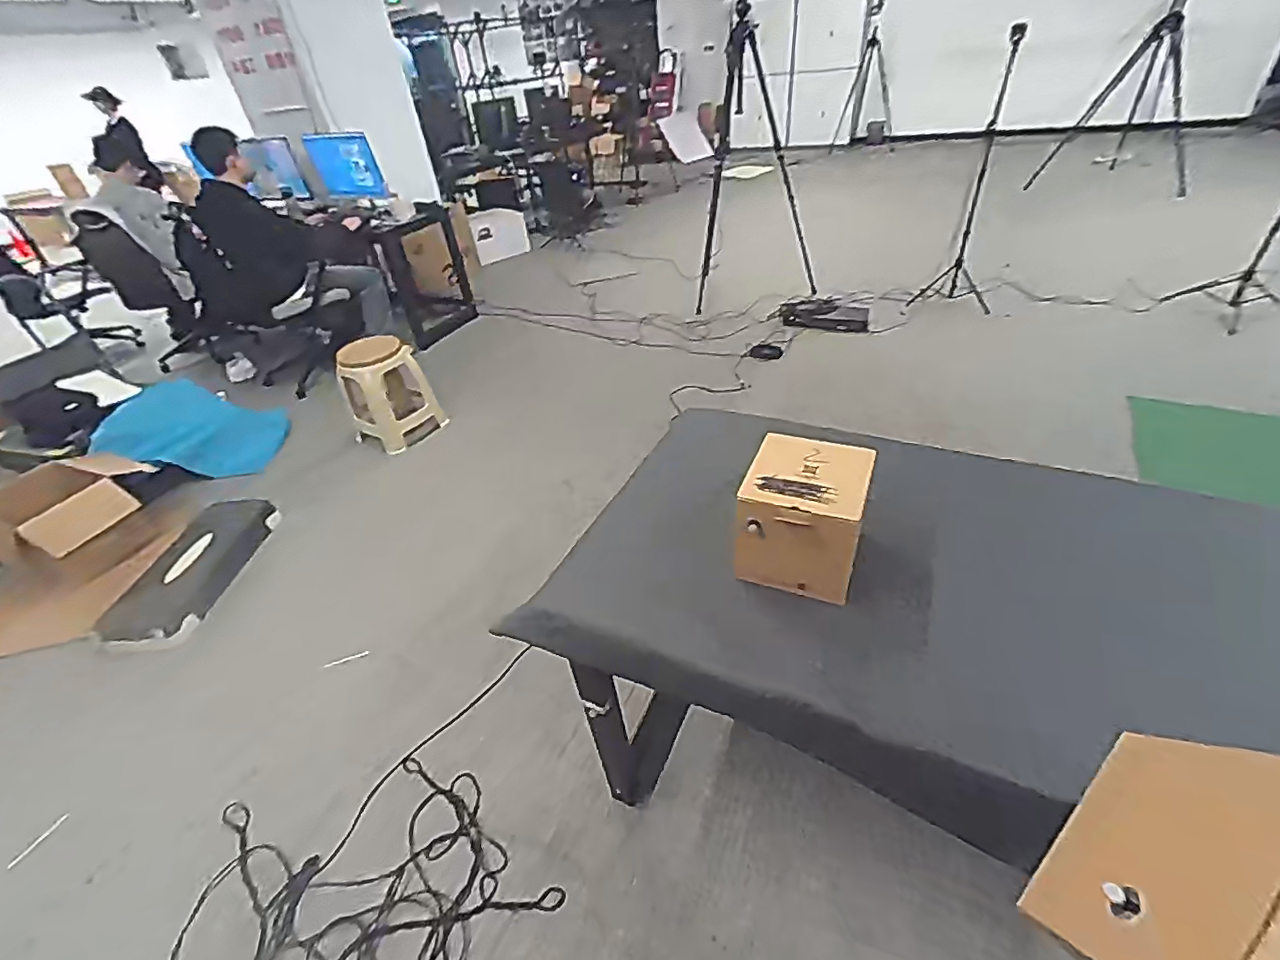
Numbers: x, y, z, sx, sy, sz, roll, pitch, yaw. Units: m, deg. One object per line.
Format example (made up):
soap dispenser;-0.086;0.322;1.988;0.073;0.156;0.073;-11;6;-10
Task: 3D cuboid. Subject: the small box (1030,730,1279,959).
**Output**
small box;0.408;0.296;0.355;0.168;0.176;0.179;39;77;15
